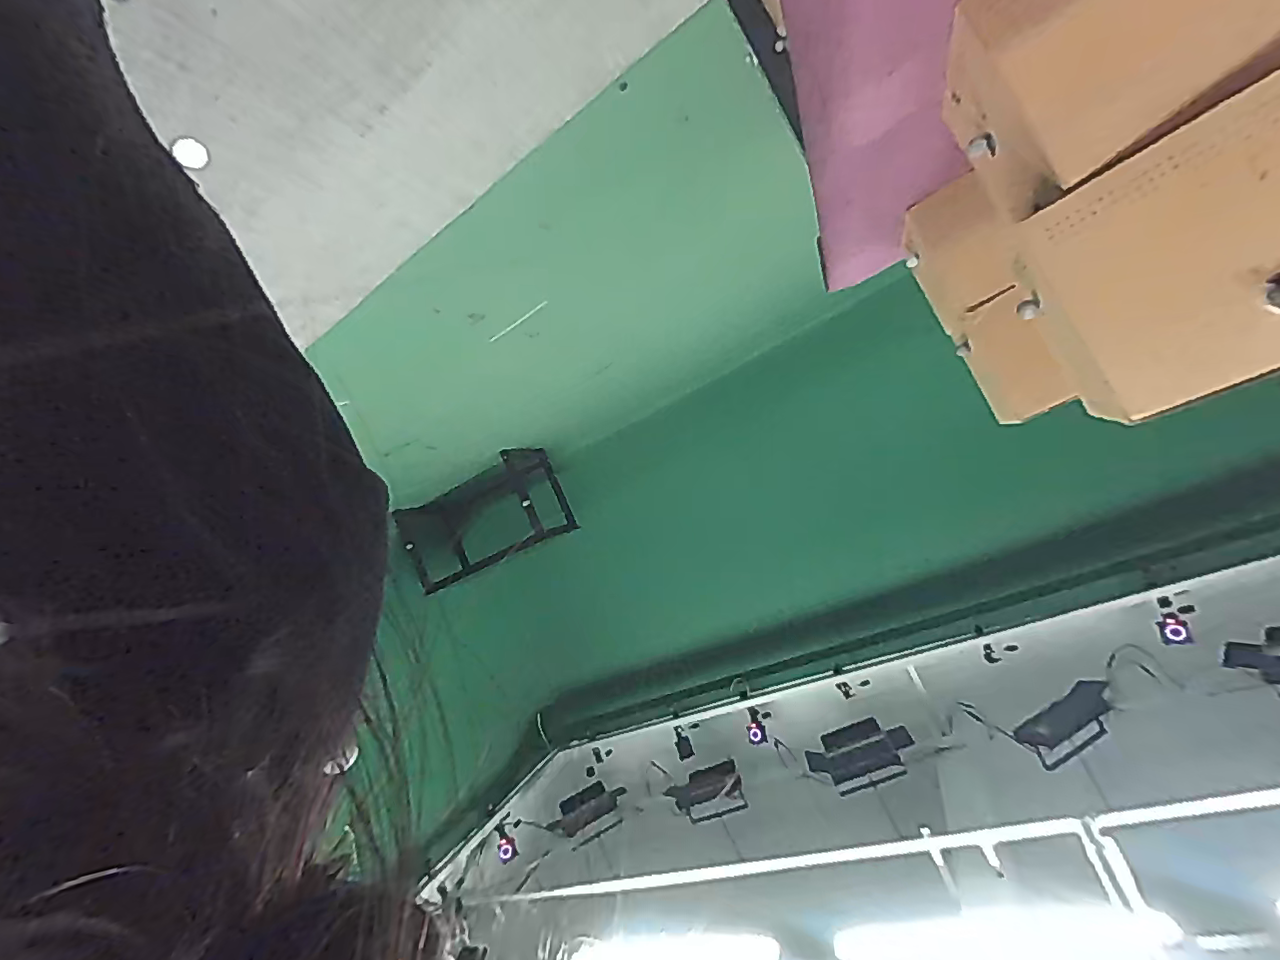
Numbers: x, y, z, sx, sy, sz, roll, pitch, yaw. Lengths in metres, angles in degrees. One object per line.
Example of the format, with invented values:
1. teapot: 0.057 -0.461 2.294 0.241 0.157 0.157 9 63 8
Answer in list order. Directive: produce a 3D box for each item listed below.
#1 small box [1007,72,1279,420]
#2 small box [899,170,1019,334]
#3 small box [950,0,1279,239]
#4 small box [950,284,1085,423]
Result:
1. small box: 0.416 -0.162 0.406 0.179 0.176 0.168 -28 172 32
2. small box: 0.502 -0.340 0.778 0.179 0.176 0.168 -27 173 22
3. small box: 0.370 -0.321 0.420 0.179 0.176 0.168 -28 174 26
4. small box: 0.569 -0.194 0.754 0.179 0.176 0.168 -28 172 24
